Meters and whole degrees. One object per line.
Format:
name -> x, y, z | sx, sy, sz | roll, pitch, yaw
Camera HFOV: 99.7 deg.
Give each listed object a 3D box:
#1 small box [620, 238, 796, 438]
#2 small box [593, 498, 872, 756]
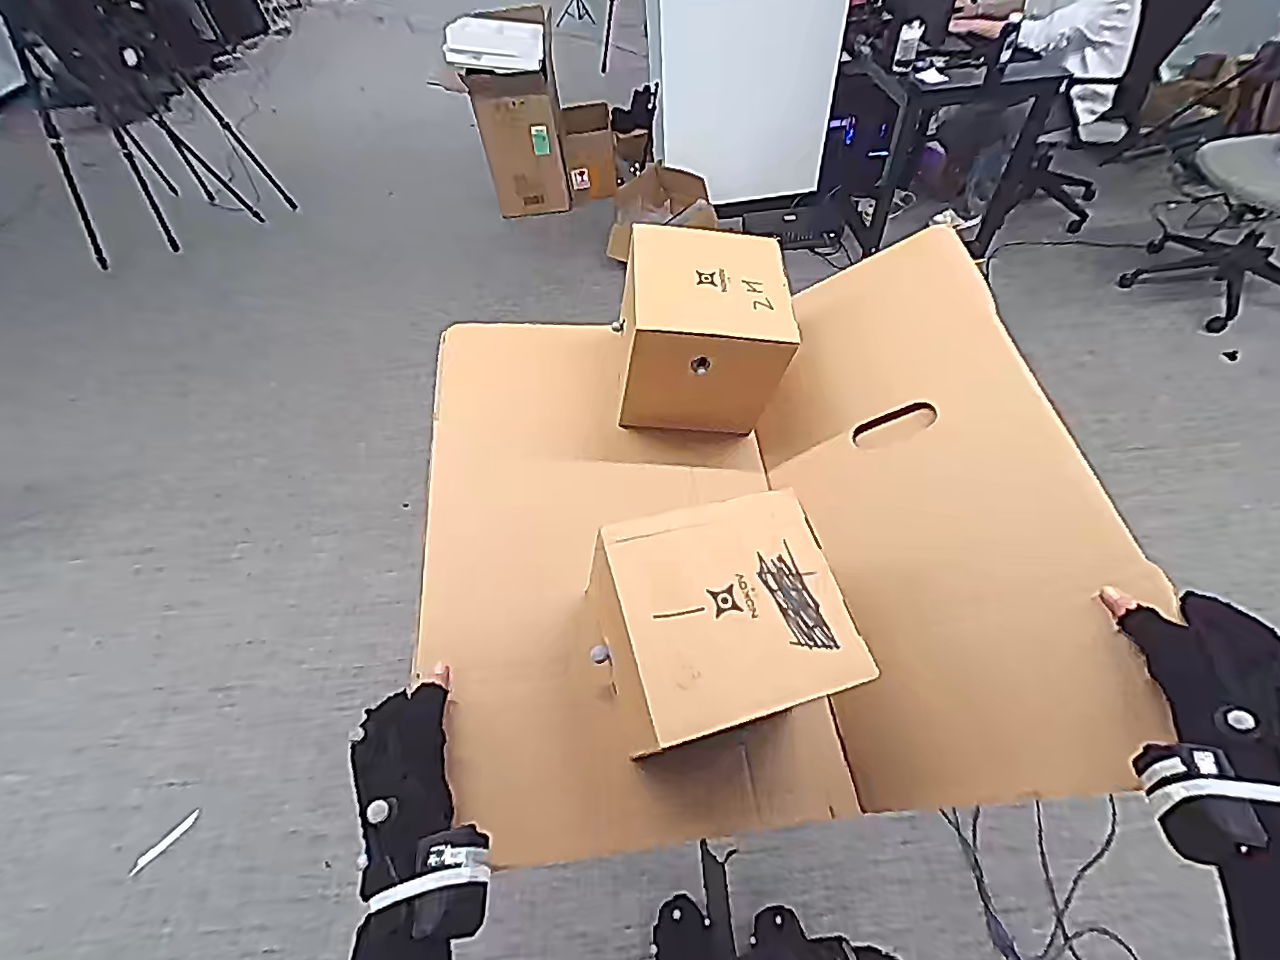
small box -> 0.068, -0.165, 0.664 | 0.179, 0.176, 0.168 | 4, 60, -8
small box -> 0.063, 0.138, 0.491 | 0.179, 0.176, 0.168 | -11, 63, -14
